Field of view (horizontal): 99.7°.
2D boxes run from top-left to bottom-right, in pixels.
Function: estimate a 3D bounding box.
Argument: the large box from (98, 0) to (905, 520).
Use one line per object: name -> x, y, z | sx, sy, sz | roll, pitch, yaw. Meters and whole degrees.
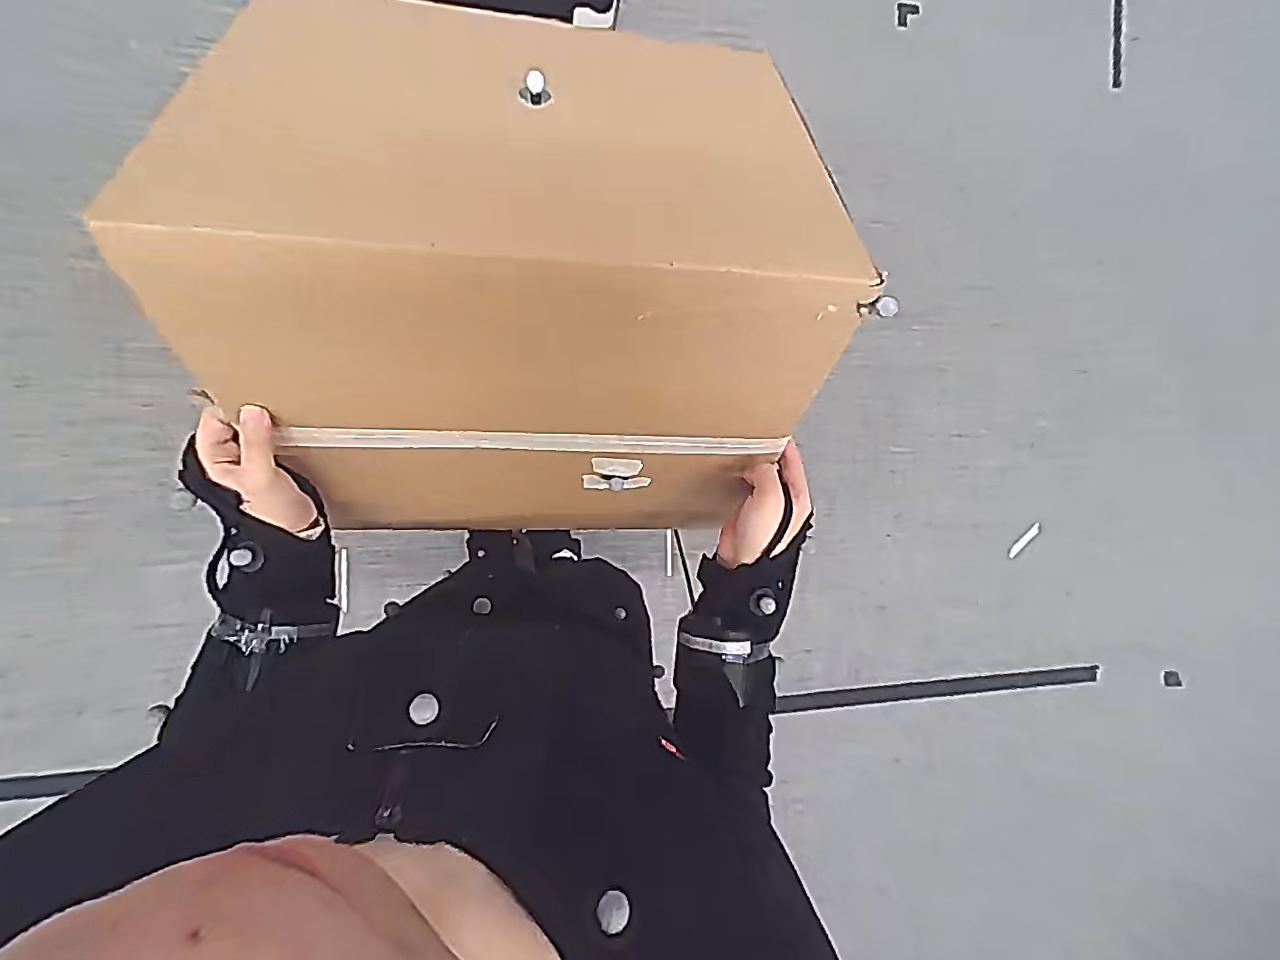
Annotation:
large box -> -0.081, -0.173, 0.471 | 0.408, 0.320, 0.320 | 0, 58, -9
